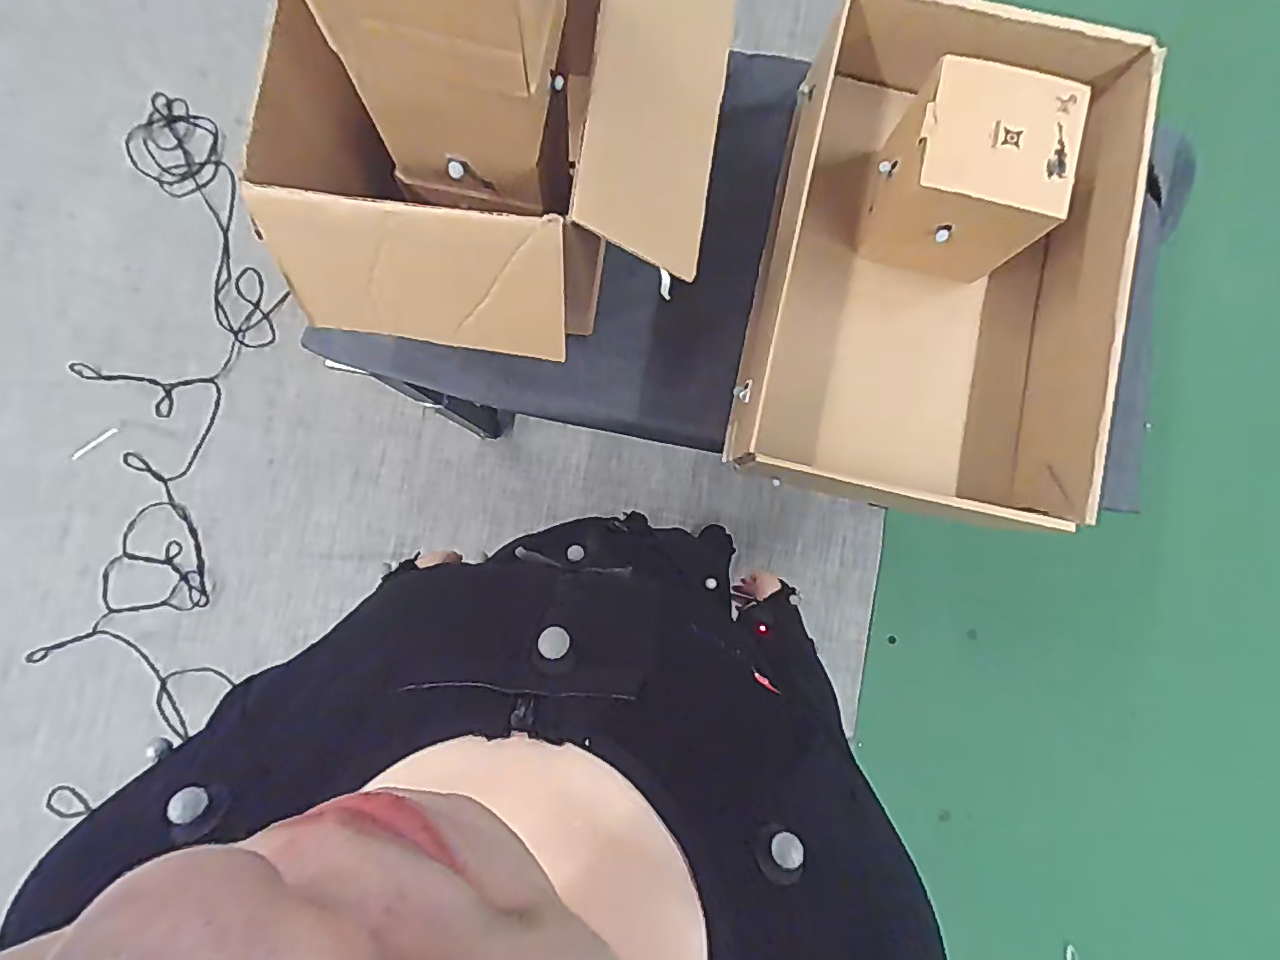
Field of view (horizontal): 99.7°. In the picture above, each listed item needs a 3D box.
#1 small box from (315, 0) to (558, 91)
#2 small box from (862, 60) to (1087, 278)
[{"bbox_3d":[-0.155,-0.434,0.395,0.179,0.176,0.168,11,84,-5],"label":"small box"},{"bbox_3d":[0.412,-0.383,0.697,0.179,0.176,0.168,13,87,2],"label":"small box"}]
